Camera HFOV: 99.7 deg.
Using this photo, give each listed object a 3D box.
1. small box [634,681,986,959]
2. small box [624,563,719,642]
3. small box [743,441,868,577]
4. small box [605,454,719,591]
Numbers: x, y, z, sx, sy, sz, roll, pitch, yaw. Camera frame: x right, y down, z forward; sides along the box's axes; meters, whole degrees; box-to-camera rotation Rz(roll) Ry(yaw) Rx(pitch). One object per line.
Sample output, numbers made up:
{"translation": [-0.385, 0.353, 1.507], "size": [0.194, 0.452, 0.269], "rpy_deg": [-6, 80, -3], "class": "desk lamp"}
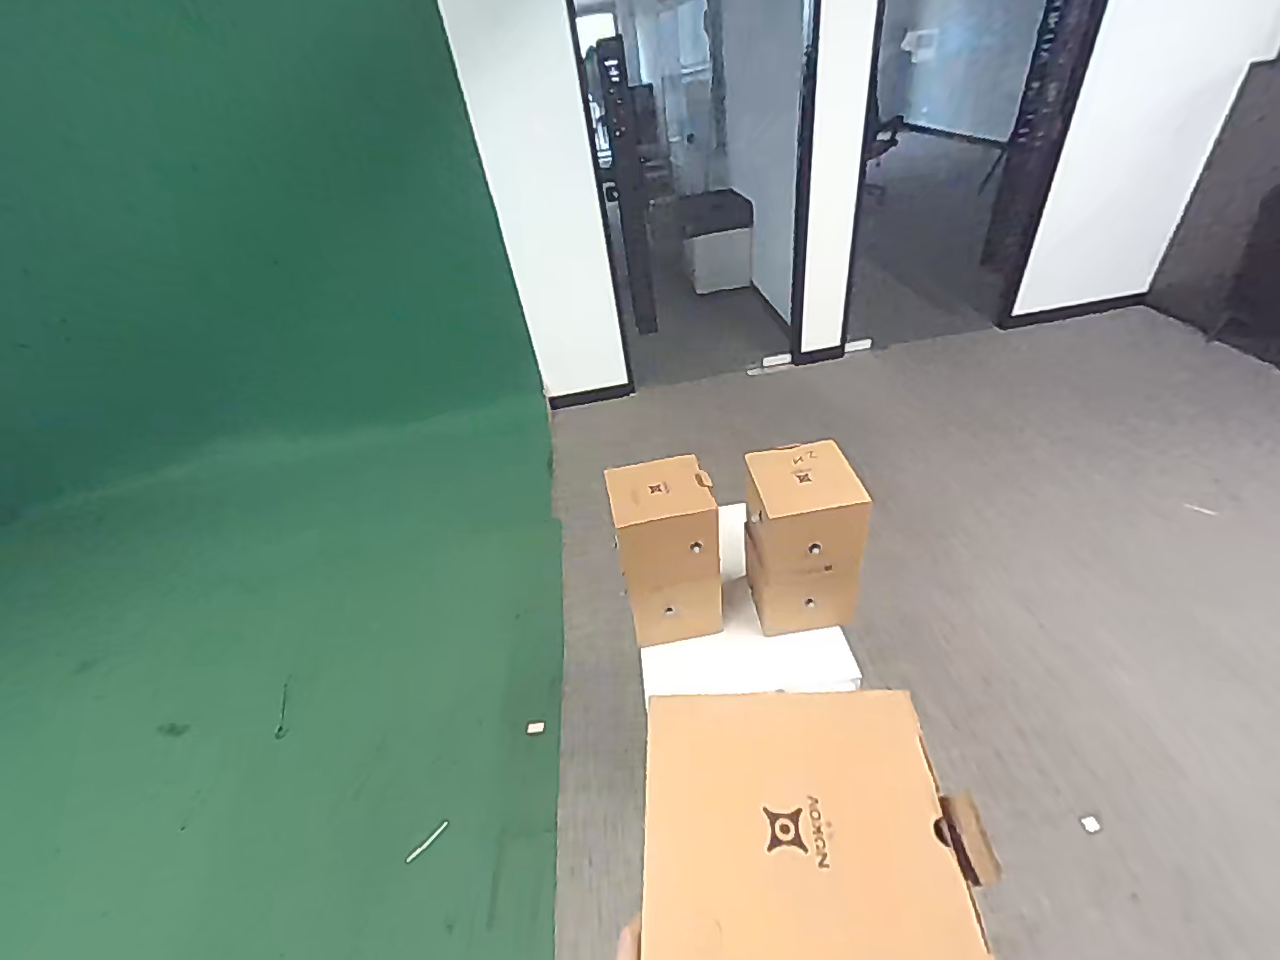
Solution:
{"translation": [0.098, 0.256, 0.372], "size": [0.179, 0.176, 0.168], "rpy_deg": [-4, 44, 7], "class": "small box"}
{"translation": [0.058, 0.206, 1.094], "size": [0.179, 0.176, 0.168], "rpy_deg": [-10, 39, -3], "class": "small box"}
{"translation": [0.286, 0.057, 0.967], "size": [0.168, 0.176, 0.179], "rpy_deg": [-9, 39, 1], "class": "small box"}
{"translation": [0.039, 0.078, 0.993], "size": [0.179, 0.176, 0.168], "rpy_deg": [-11, 38, -4], "class": "small box"}
